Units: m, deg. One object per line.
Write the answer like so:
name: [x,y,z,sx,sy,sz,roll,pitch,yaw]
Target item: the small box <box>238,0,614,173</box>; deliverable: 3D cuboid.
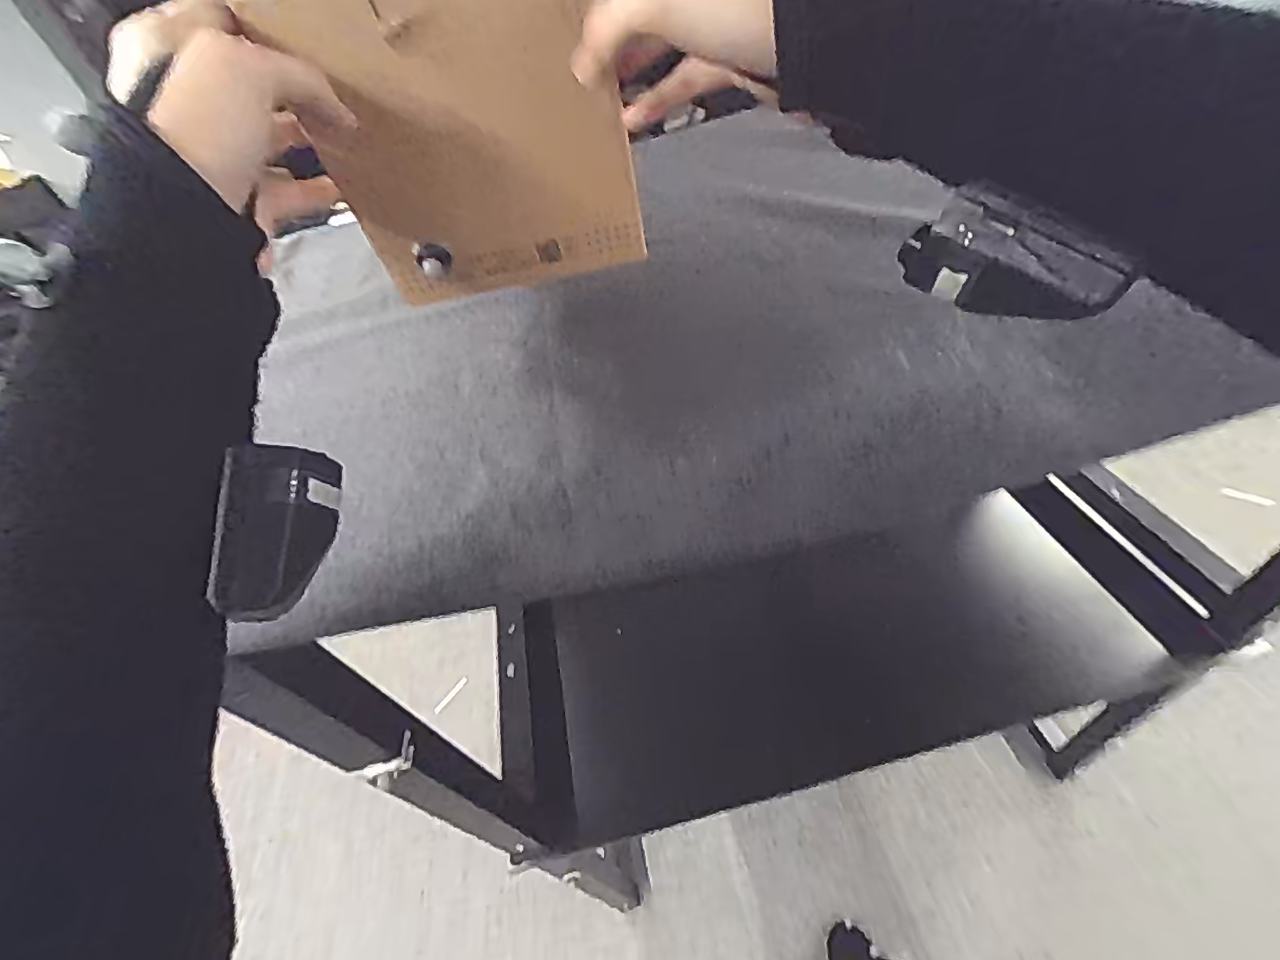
small box: [-0.114,-0.294,0.297,0.168,0.176,0.179,-10,54,2]
